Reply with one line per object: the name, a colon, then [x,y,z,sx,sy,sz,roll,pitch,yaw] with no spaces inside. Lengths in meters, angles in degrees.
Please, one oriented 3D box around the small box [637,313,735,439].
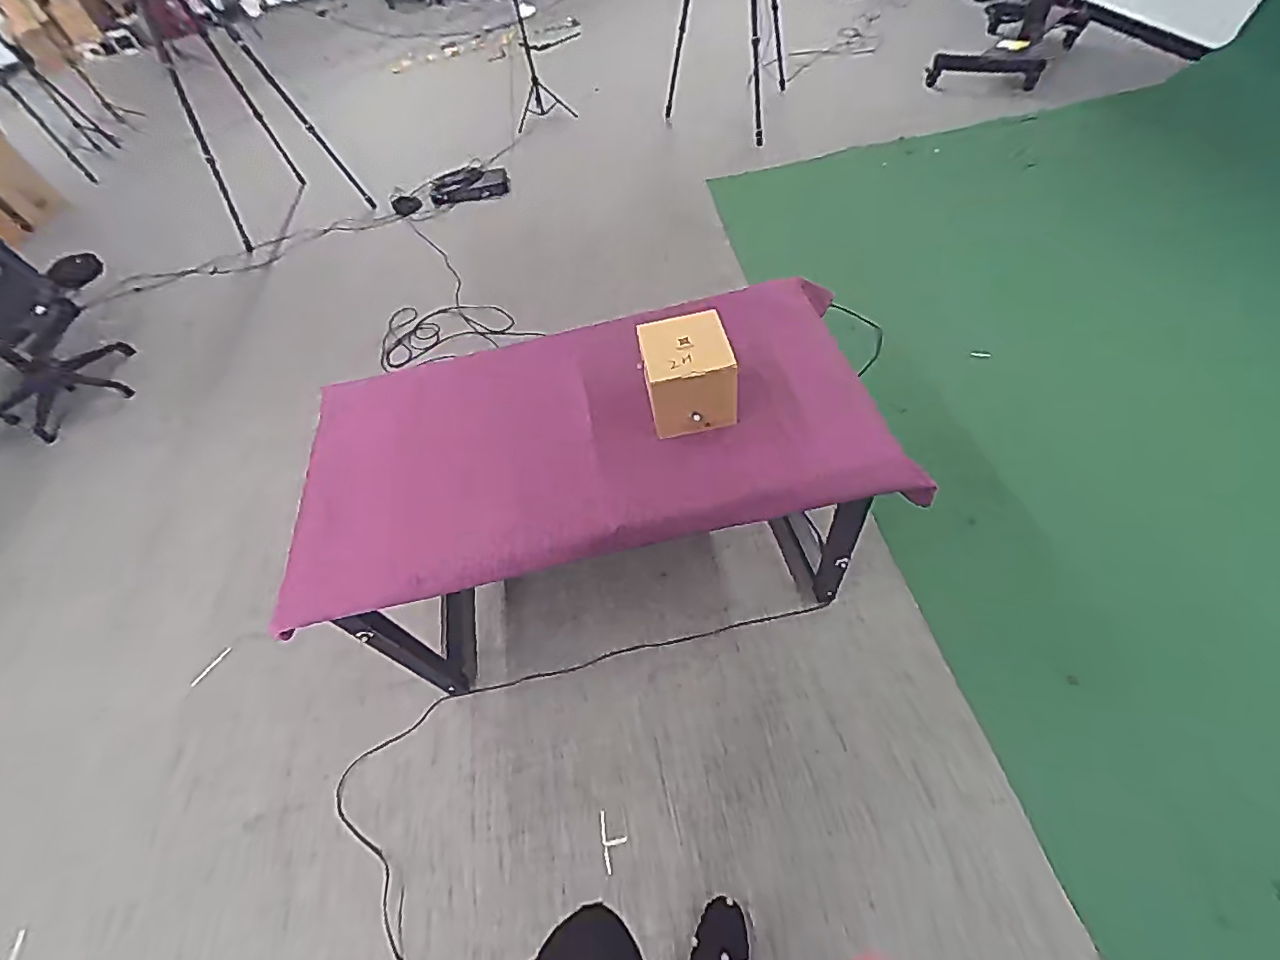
small box: [0.093,-0.211,1.112,0.168,0.176,0.179,-11,54,2]
